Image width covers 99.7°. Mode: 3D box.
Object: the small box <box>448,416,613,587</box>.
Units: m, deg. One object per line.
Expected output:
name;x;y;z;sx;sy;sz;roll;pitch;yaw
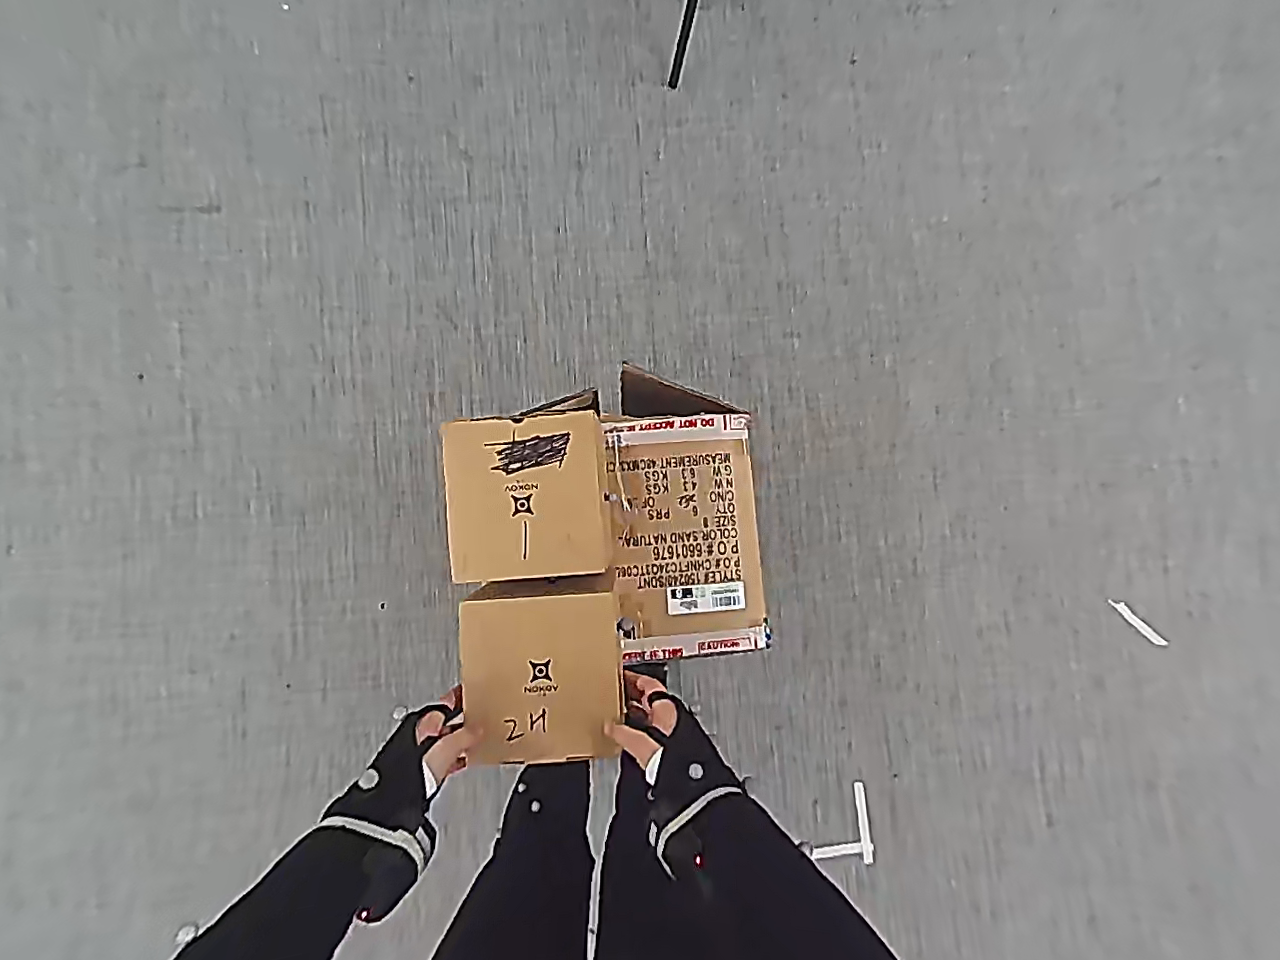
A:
small box;-0.122;0.026;0.658;0.168;0.176;0.179;-5;88;0

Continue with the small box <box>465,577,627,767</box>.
small box;-0.103;0.213;0.651;0.168;0.176;0.179;-4;89;-1
